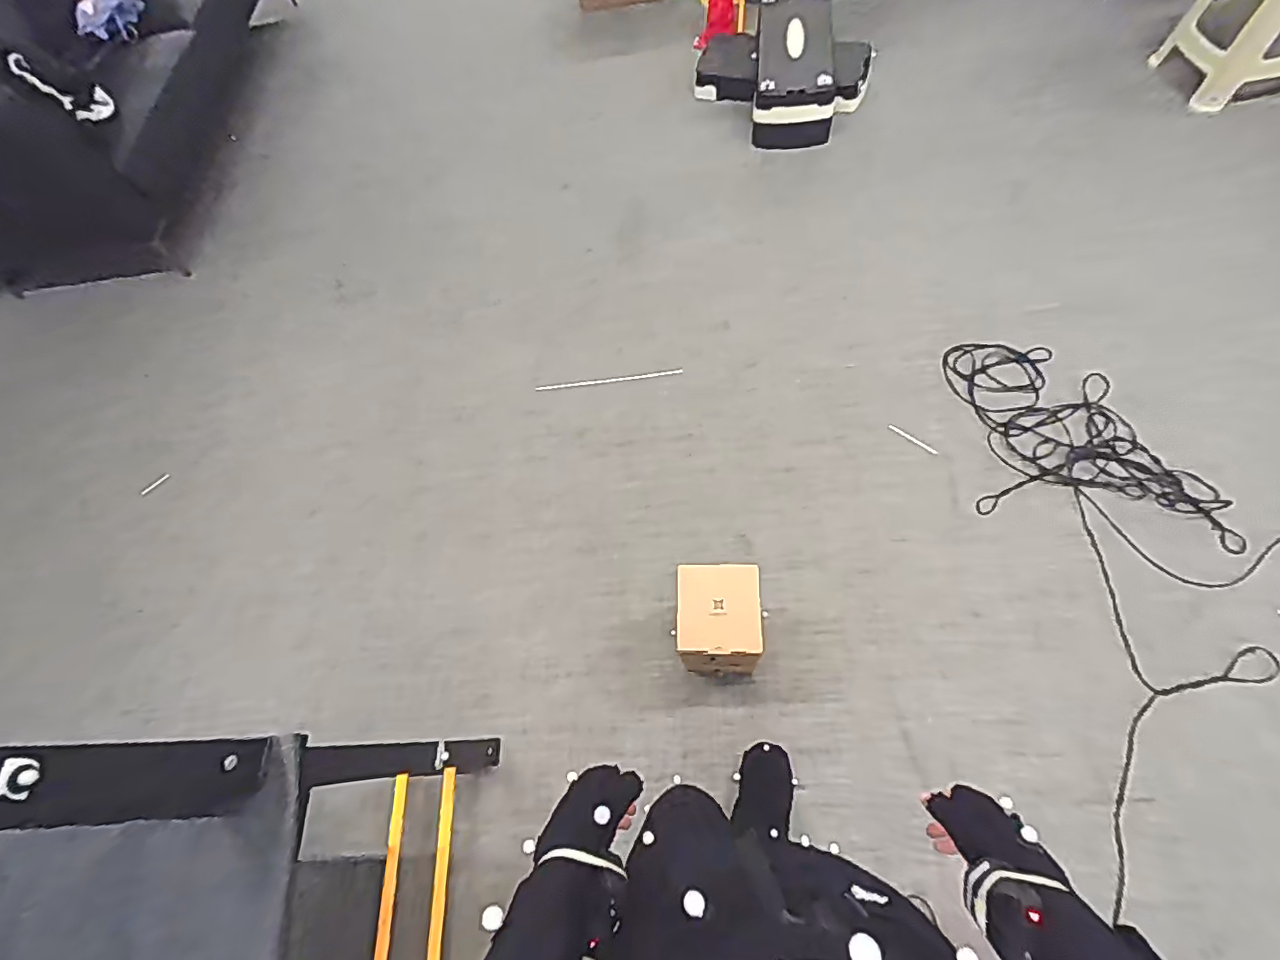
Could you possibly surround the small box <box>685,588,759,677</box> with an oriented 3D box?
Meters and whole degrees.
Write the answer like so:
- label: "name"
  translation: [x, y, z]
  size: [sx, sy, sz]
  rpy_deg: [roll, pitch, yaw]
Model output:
- label: "small box"
  translation: [0.196, 0.366, 1.292]
  size: [0.168, 0.176, 0.179]
  rpy_deg: [0, 65, 10]
